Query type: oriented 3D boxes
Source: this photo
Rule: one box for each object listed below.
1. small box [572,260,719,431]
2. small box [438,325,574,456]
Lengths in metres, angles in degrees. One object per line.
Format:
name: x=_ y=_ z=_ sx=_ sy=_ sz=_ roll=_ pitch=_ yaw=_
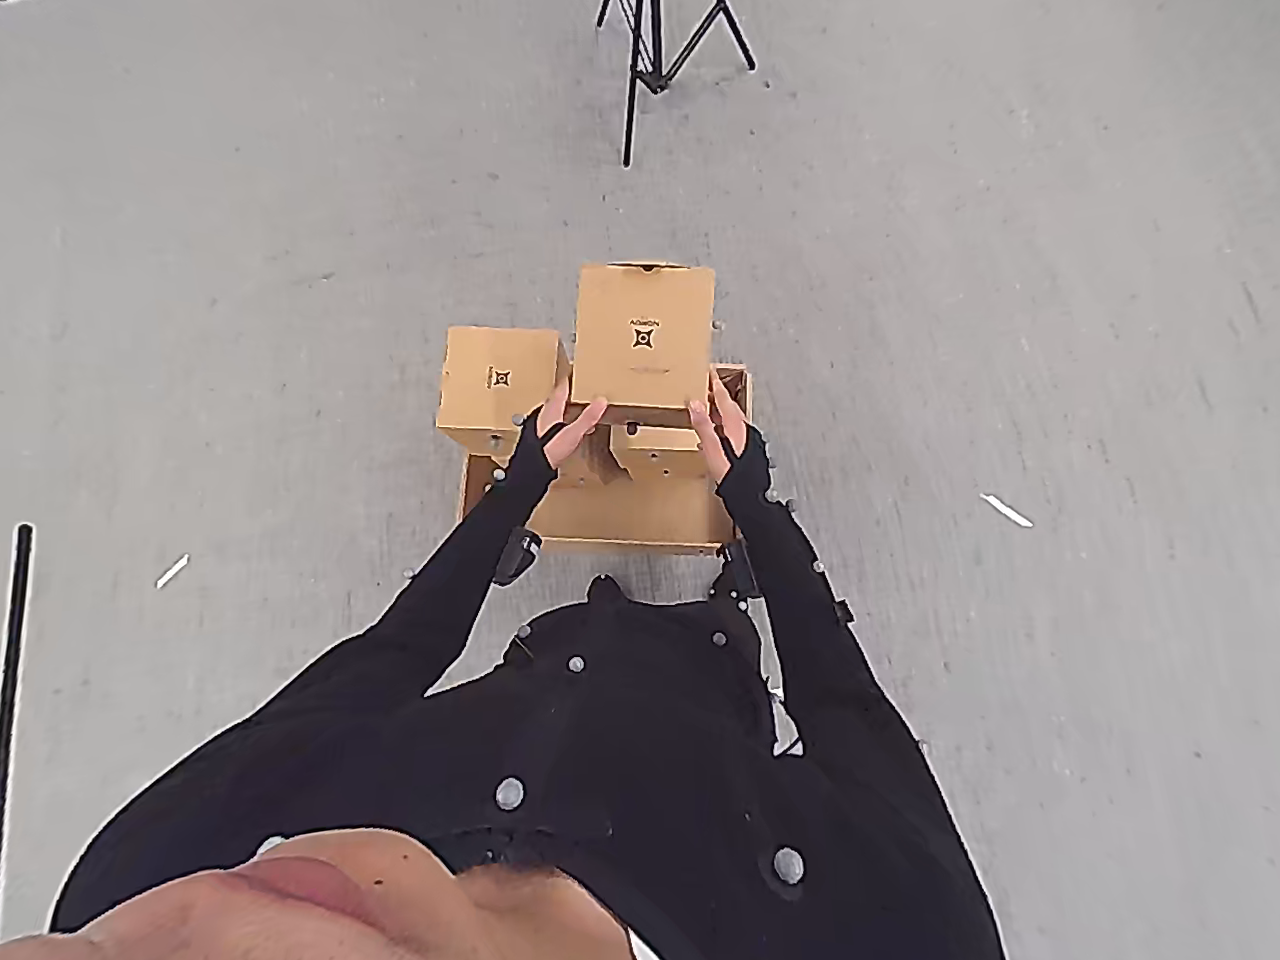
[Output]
small box: x=0.010 y=-0.169 z=0.723 sx=0.168 sy=0.176 sz=0.179 roll=4 pitch=87 yaw=4
small box: x=-0.208 y=-0.139 z=0.893 sx=0.179 sy=0.176 sz=0.168 roll=2 pitch=79 yaw=2
